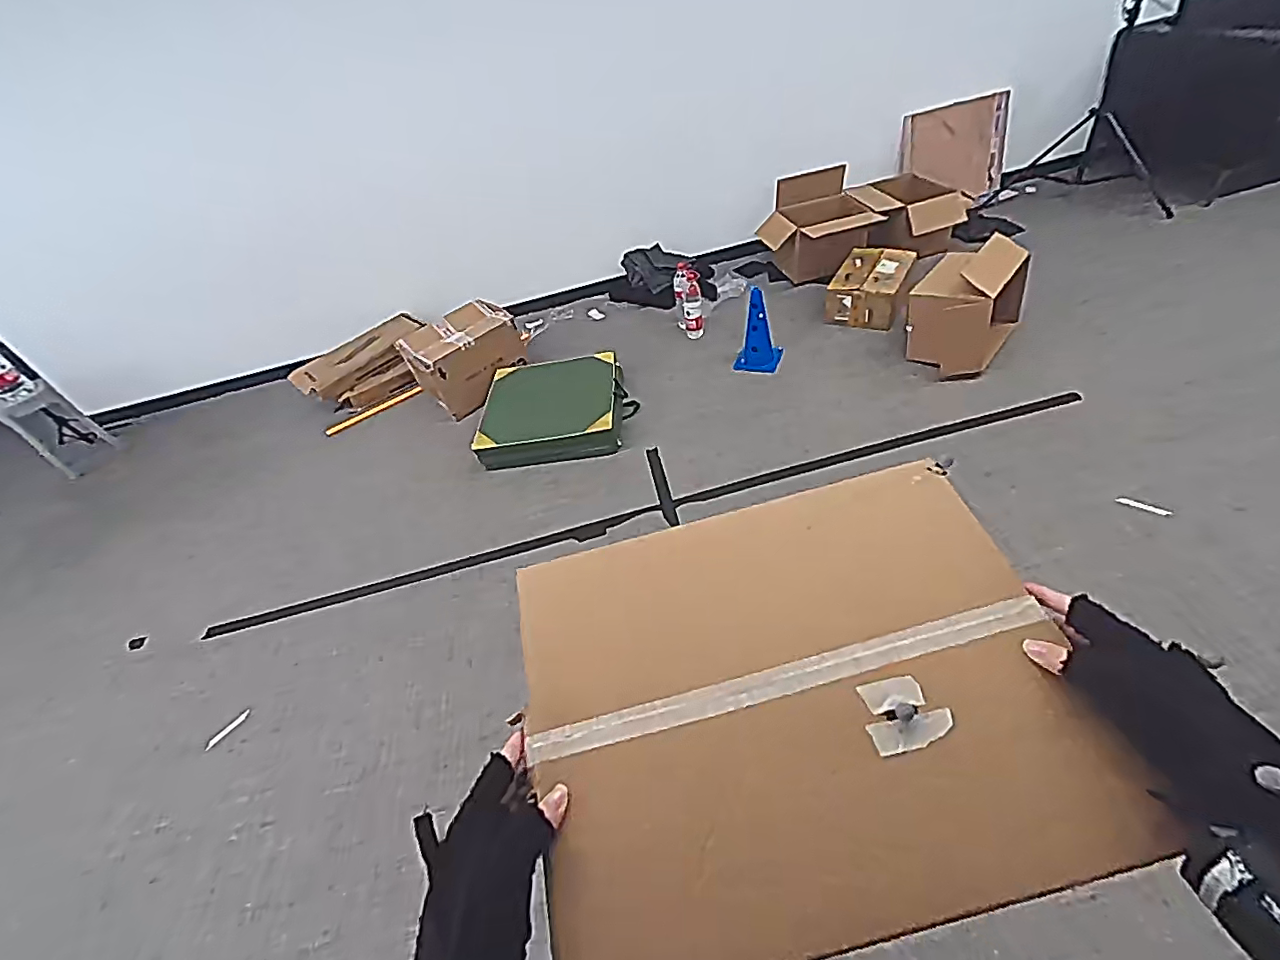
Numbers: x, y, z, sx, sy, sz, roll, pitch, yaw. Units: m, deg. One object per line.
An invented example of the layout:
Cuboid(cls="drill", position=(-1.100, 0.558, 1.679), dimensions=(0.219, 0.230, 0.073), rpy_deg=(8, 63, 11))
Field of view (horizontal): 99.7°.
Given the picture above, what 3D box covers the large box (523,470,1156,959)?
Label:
Cuboid(cls="large box", position=(0.132, 0.246, 0.550), dimensions=(0.408, 0.320, 0.320), rpy_deg=(-15, 54, -1))
